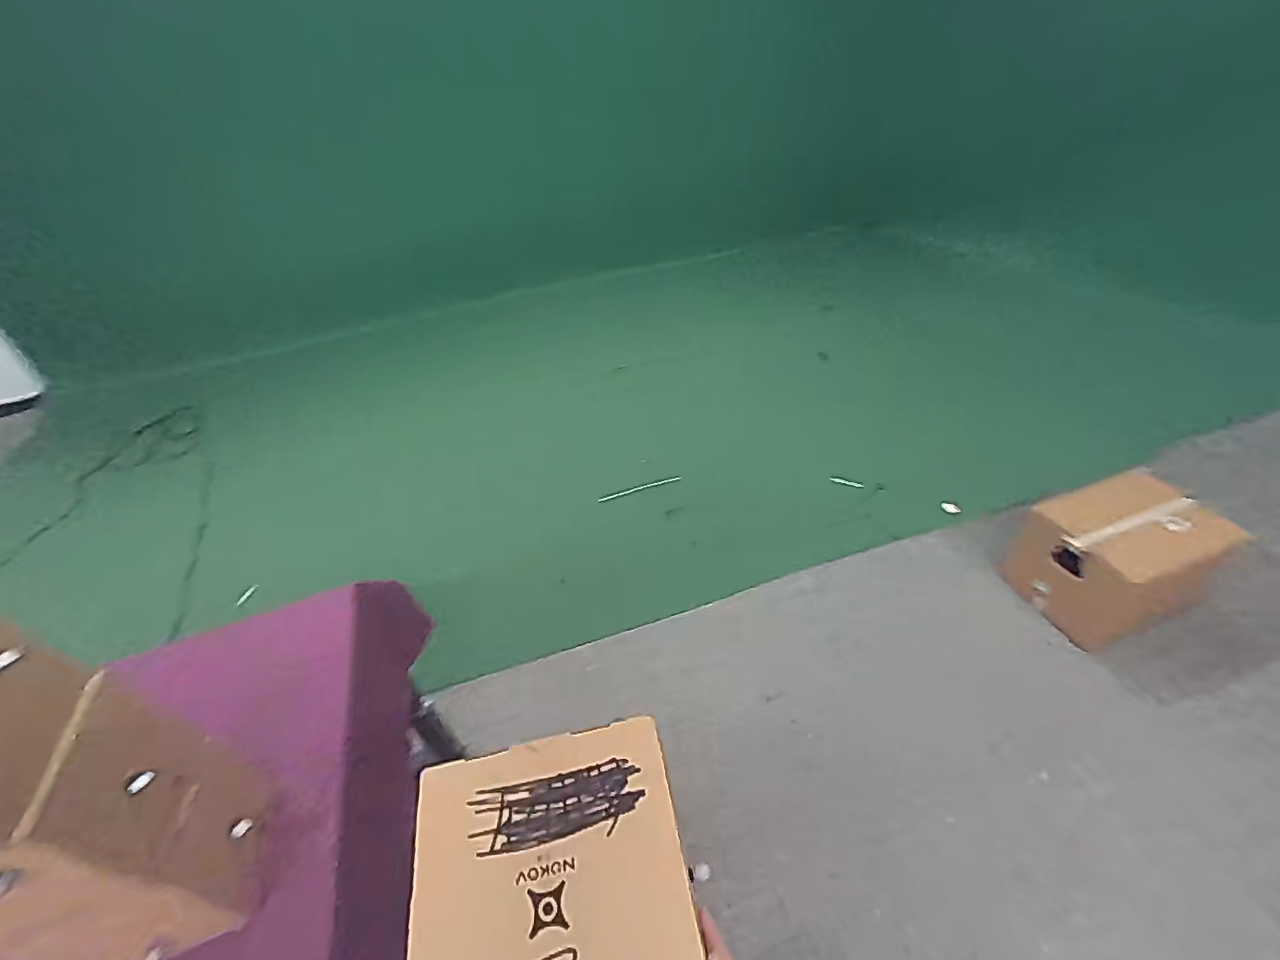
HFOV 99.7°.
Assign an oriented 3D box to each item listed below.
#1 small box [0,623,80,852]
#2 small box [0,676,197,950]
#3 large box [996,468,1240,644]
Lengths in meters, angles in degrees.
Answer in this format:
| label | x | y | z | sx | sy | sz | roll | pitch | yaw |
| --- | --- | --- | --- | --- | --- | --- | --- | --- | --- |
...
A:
| label | x | y | z | sx | sy | sz | roll | pitch | yaw |
| --- | --- | --- | --- | --- | --- | --- | --- | --- | --- |
| small box | -0.630 | 0.221 | 0.437 | 0.168 | 0.176 | 0.179 | -19 | 43 | -9 |
| small box | -0.608 | 0.338 | 0.549 | 0.179 | 0.176 | 0.168 | -18 | 42 | -10 |
| large box | 1.381 | 0.220 | 1.607 | 0.408 | 0.320 | 0.320 | -16 | 41 | -11 |
